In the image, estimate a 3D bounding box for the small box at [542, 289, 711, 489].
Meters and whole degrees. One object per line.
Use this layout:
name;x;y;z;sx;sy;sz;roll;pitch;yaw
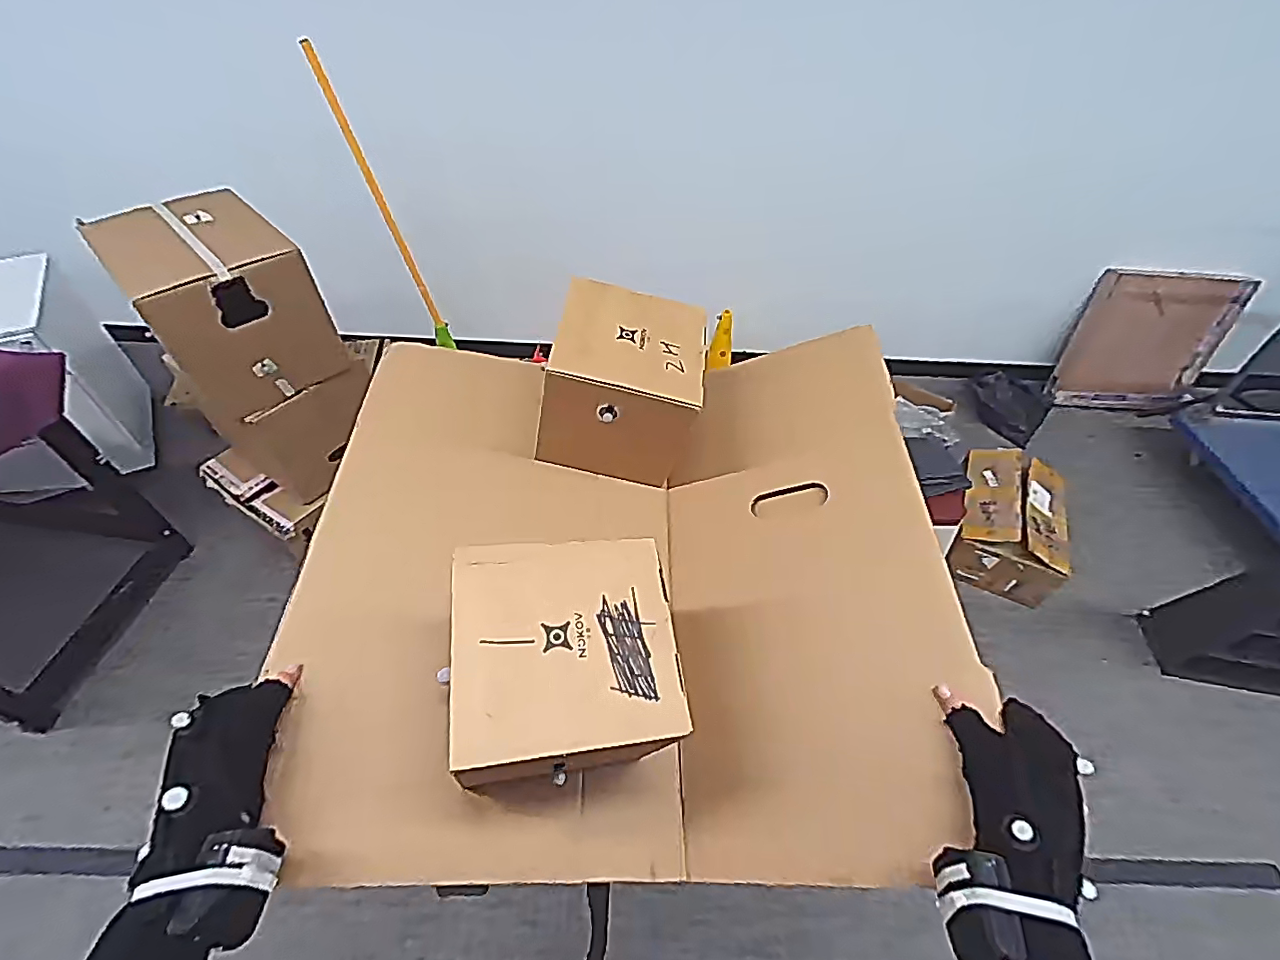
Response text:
small box;-0.022;-0.109;0.696;0.179;0.176;0.168;14;55;-7

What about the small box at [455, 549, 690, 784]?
small box;-0.073;0.173;0.497;0.179;0.176;0.168;0;58;-15
